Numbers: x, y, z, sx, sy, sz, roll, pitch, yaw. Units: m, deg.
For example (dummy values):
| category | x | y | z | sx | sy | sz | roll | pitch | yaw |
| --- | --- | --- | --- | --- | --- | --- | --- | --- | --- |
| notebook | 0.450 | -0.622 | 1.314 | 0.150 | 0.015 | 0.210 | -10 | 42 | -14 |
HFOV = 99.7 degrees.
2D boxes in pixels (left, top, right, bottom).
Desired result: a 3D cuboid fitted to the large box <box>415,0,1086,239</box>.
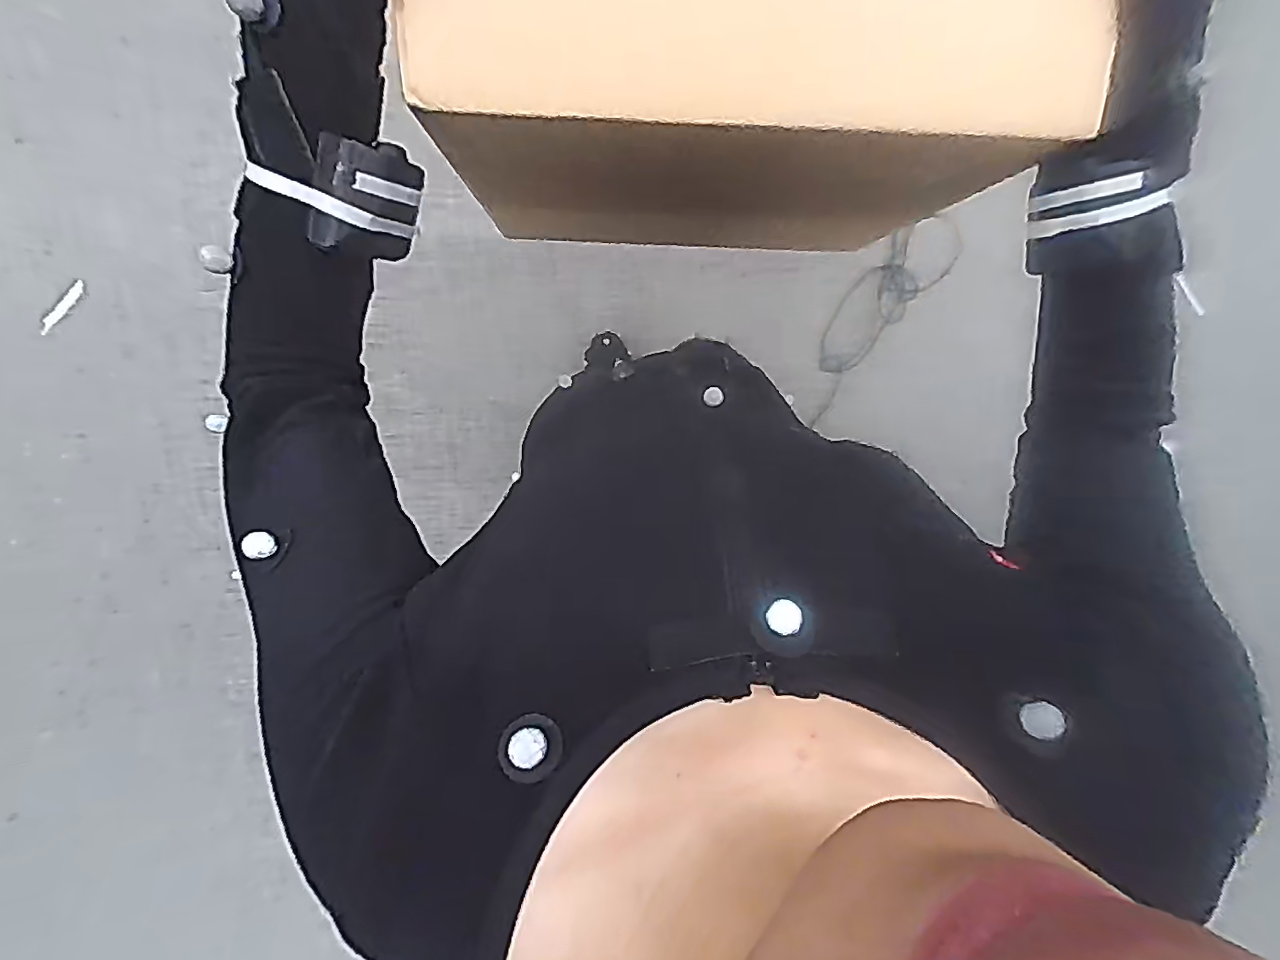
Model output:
| category | x | y | z | sx | sy | sz | roll | pitch | yaw |
| --- | --- | --- | --- | --- | --- | --- | --- | --- | --- |
| large box | 0.058 | -0.398 | 0.441 | 0.408 | 0.320 | 0.320 | 0 | 102 | -5 |
